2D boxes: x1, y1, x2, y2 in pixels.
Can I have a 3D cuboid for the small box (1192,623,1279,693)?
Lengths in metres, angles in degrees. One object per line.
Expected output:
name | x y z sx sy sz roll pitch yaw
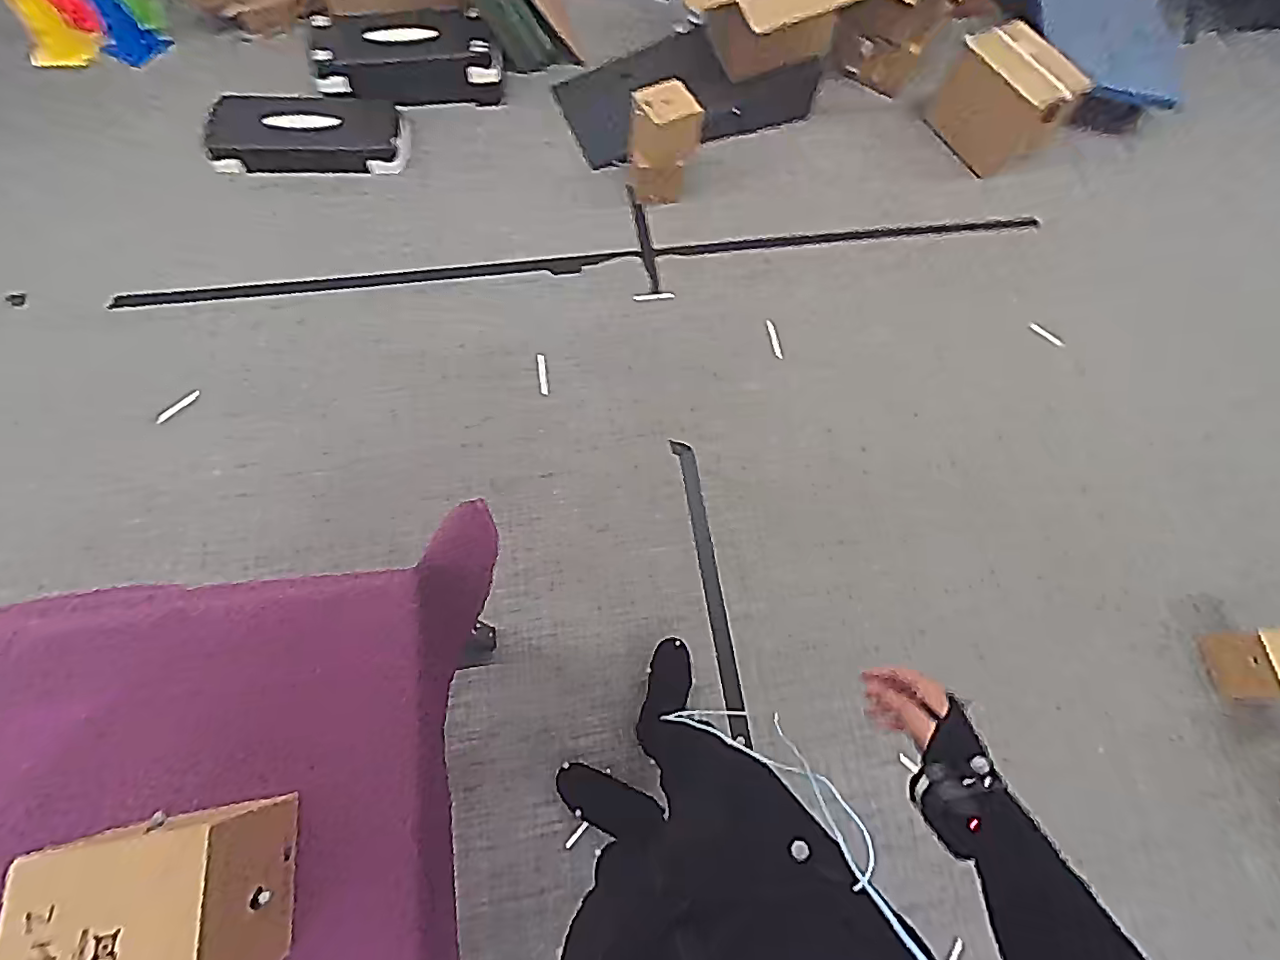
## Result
small box | 1.718 0.495 1.501 0.168 0.176 0.179 -1 68 -4

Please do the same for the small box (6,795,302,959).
small box | -0.487 0.450 0.568 0.179 0.176 0.168 -7 70 -7
